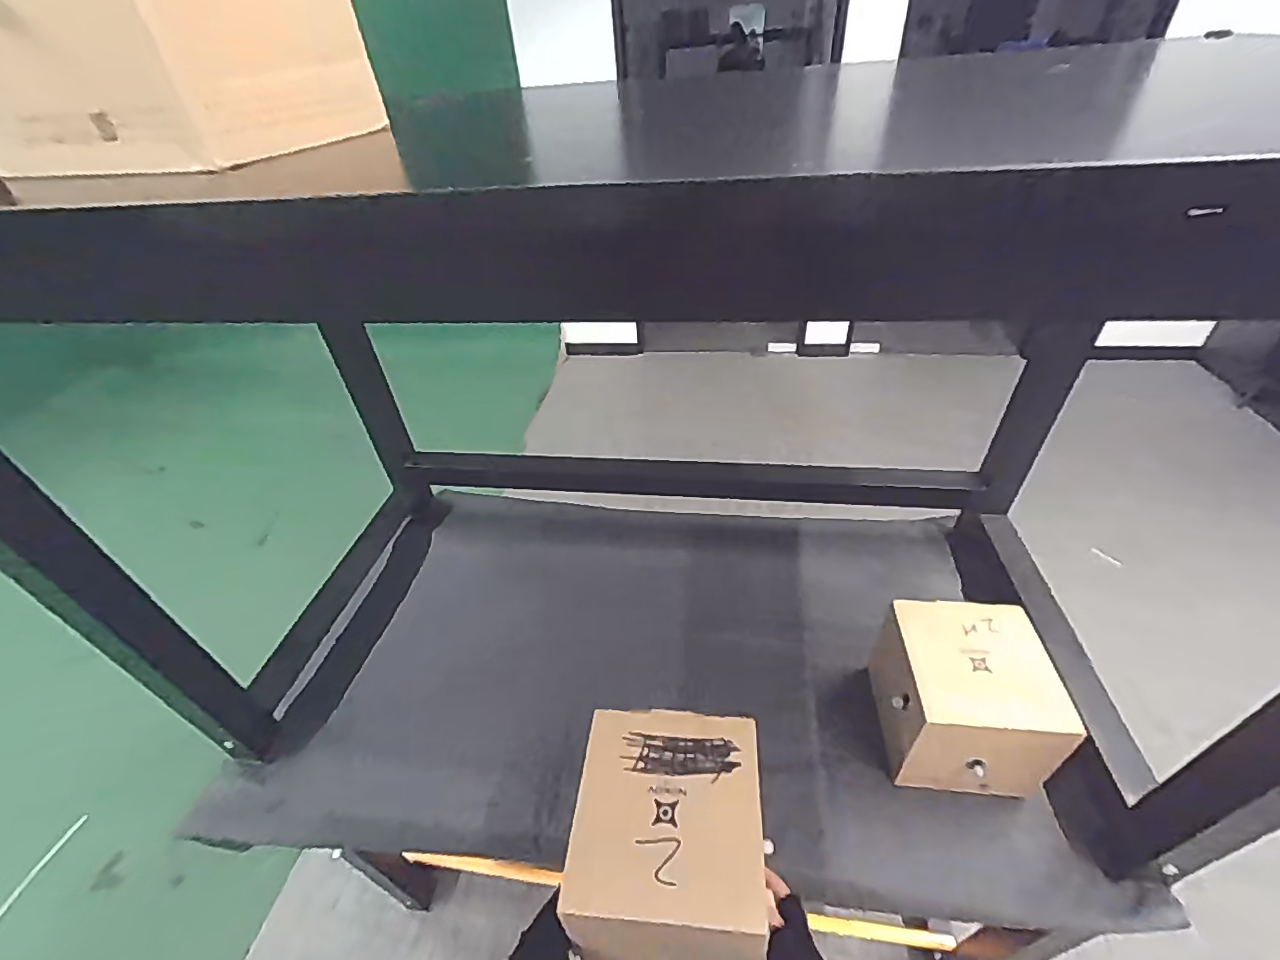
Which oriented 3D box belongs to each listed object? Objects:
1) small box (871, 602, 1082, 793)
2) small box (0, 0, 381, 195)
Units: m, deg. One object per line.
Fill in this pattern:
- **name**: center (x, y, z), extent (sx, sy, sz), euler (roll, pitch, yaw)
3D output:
- **small box**: center (0.419, 0.284, 0.711), extent (0.168, 0.176, 0.179), euler (1, 39, 8)
- **small box**: center (-0.297, -0.283, 0.333), extent (0.168, 0.176, 0.179), euler (5, 40, 12)
